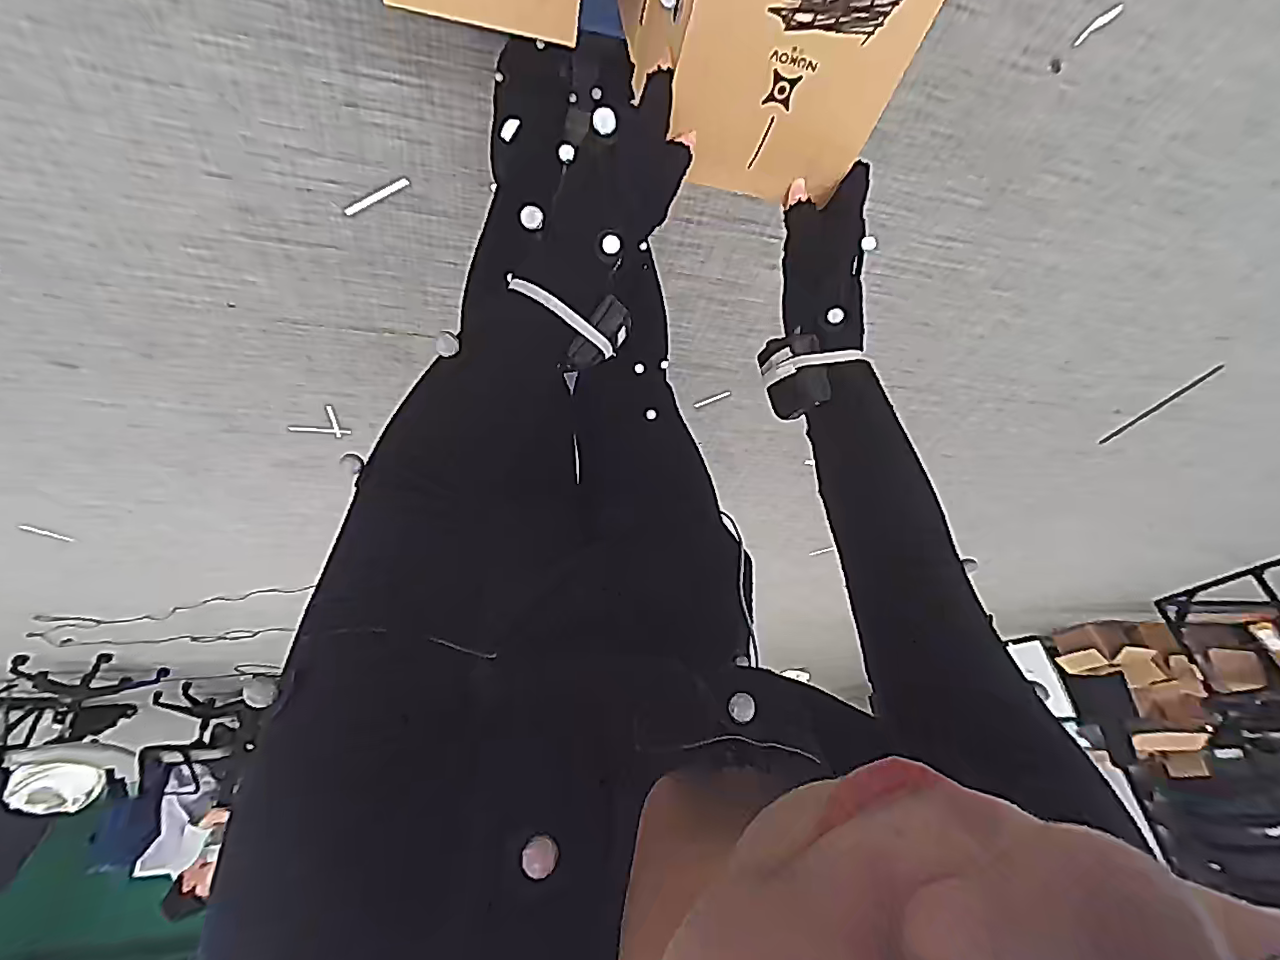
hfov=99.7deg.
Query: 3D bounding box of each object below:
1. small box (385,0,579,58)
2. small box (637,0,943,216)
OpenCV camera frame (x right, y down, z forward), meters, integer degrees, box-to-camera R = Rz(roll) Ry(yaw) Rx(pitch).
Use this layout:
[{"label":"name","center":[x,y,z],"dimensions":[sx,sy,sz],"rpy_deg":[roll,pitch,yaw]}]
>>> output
[{"label":"small box","center":[-0.128,-0.512,0.458],"dimensions":[0.168,0.176,0.179],"rpy_deg":[2,146,-14]},{"label":"small box","center":[0.098,-0.354,0.436],"dimensions":[0.168,0.176,0.179],"rpy_deg":[4,146,-15]}]
